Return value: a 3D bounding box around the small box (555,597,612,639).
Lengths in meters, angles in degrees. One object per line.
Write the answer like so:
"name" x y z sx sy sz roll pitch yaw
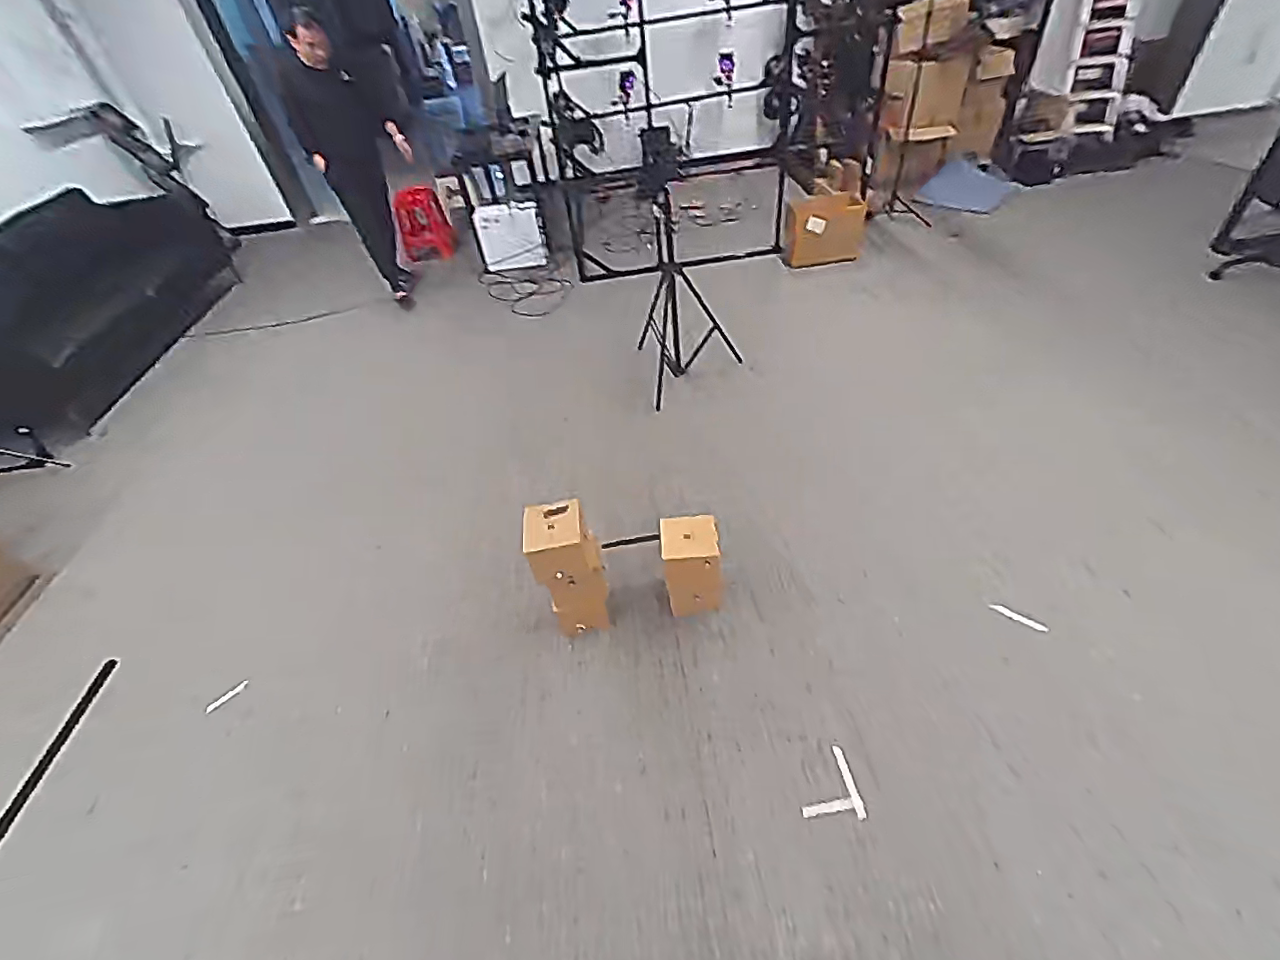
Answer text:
"small box" -0.194 0.415 1.847 0.168 0.176 0.179 -12 44 -2

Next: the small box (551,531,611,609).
"small box" -0.201 0.293 1.736 0.179 0.176 0.168 -12 44 -2

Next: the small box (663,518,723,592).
"small box" 0.169 0.243 1.727 0.179 0.176 0.168 -5 44 4

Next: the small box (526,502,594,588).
"small box" -0.234 0.195 1.606 0.168 0.176 0.179 -11 44 1
